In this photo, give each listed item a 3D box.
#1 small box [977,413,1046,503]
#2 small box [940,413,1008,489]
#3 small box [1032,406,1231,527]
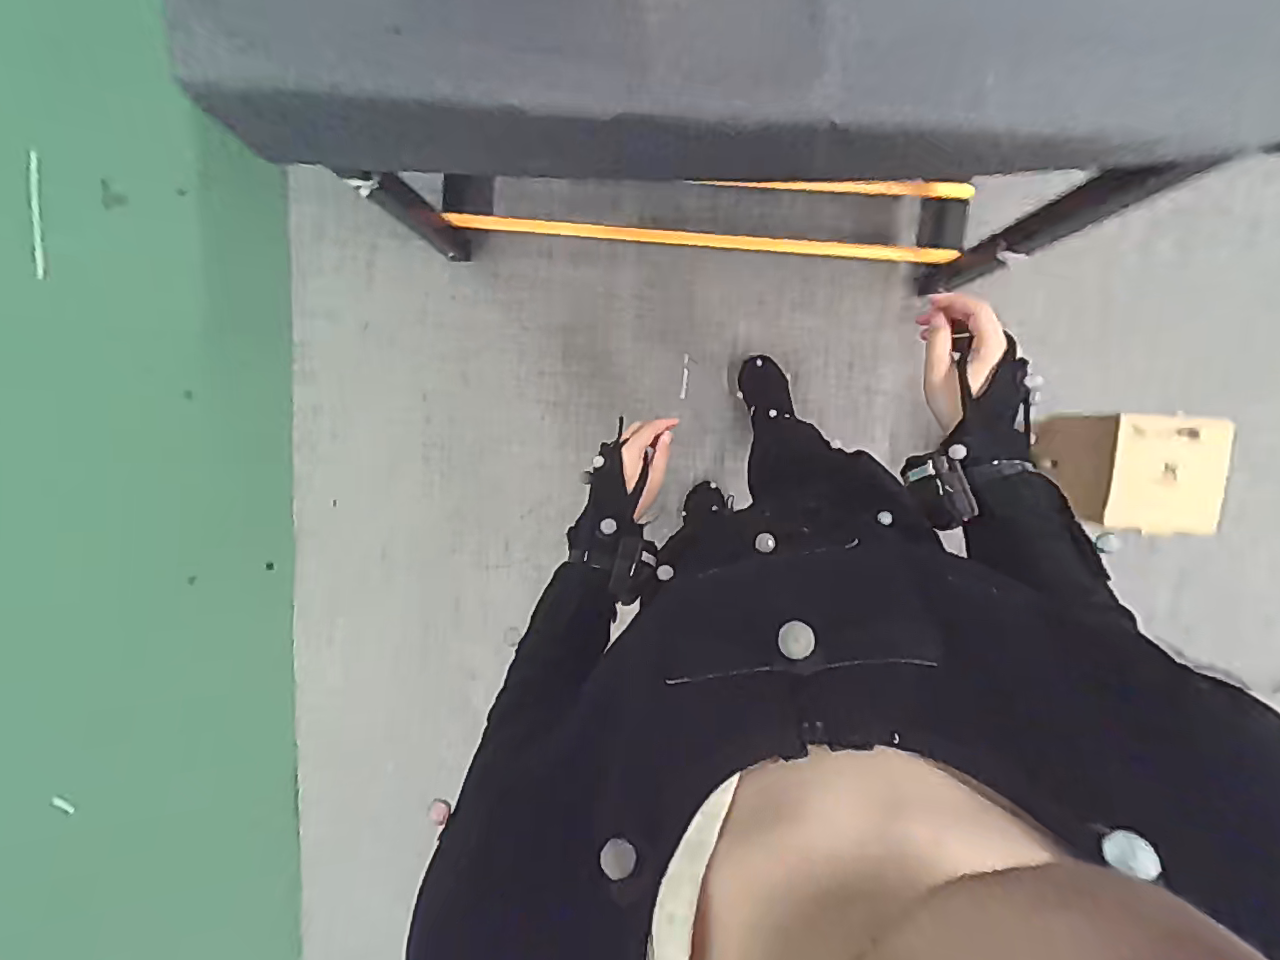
[{"bbox_3d":[0.796,-0.042,1.059,0.179,0.176,0.168,3,96,1],"label":"small box"},{"bbox_3d":[0.817,-0.061,1.221,0.179,0.176,0.168,5,95,2],"label":"small box"},{"bbox_3d":[0.793,-0.029,0.895,0.168,0.176,0.179,4,97,2],"label":"small box"}]
